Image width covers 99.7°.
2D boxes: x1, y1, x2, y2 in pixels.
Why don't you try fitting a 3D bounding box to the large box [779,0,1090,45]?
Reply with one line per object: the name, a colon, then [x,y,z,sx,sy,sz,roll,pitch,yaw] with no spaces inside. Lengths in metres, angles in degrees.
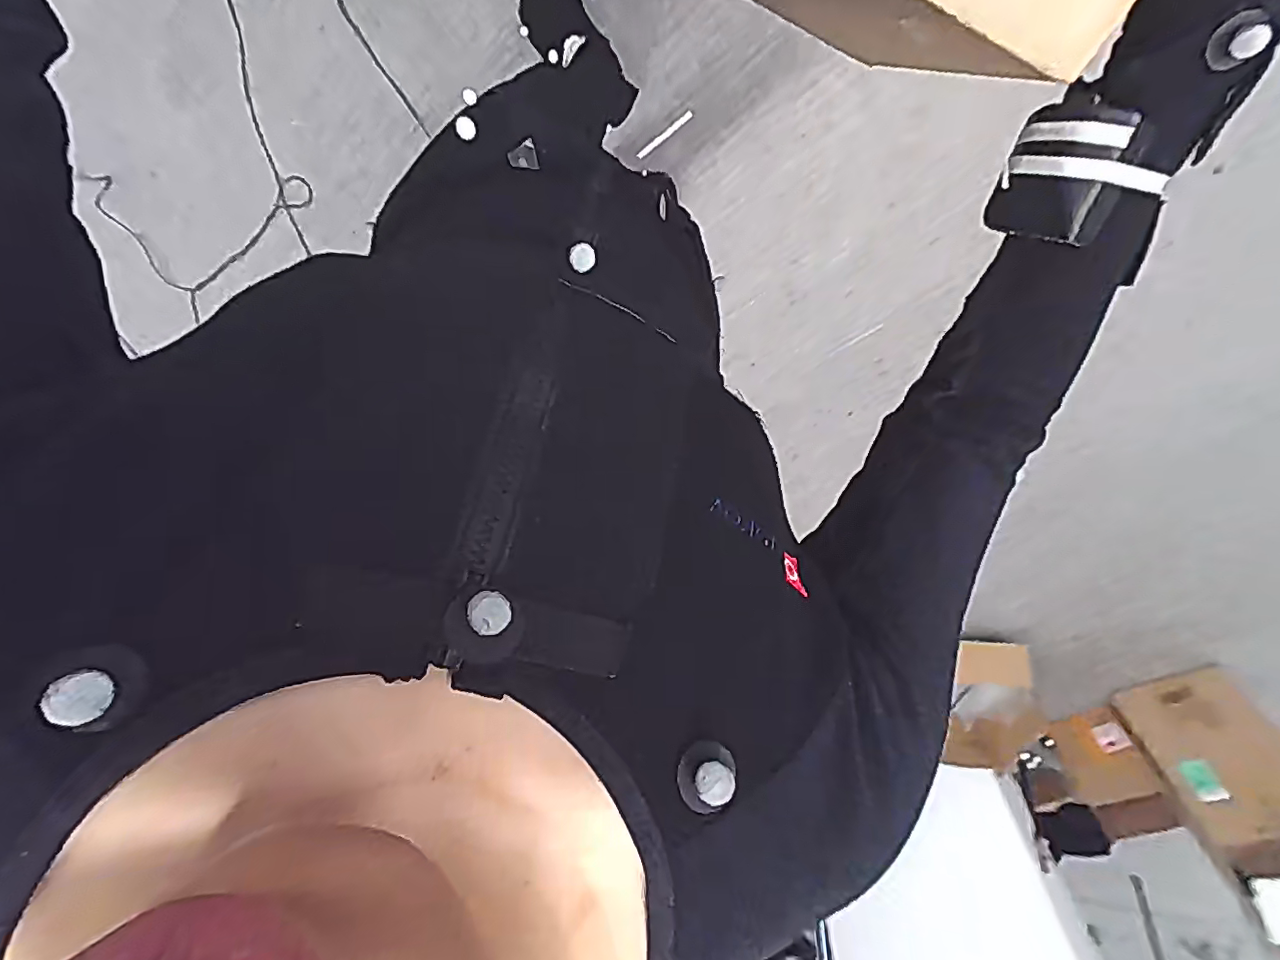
large box: [0.087,-0.486,0.271,0.408,0.320,0.320,16,128,-13]
